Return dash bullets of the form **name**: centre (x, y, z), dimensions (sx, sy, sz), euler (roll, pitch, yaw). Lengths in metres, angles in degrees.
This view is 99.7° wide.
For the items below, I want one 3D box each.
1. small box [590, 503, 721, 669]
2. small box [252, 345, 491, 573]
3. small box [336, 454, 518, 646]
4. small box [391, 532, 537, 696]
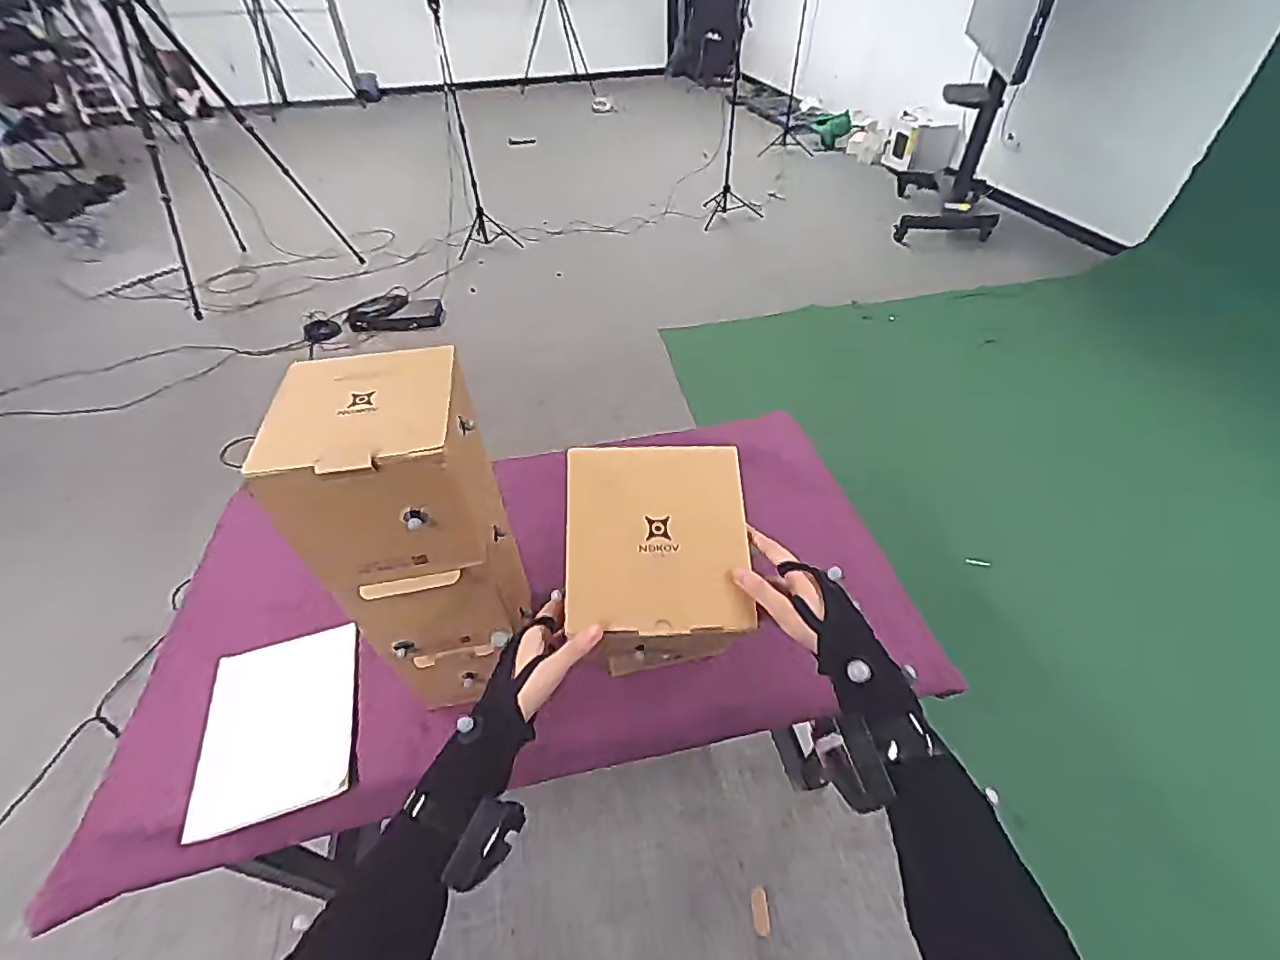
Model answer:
- **small box**: centre (0.018, 0.164, 0.842), dimensions (0.168, 0.176, 0.179), euler (-10, 45, -6)
- **small box**: centre (-0.257, -0.017, 0.572), dimensions (0.168, 0.176, 0.179), euler (-8, 45, -7)
- **small box**: centre (-0.254, 0.094, 0.691), dimensions (0.168, 0.176, 0.179), euler (-9, 45, -7)
- **small box**: centre (-0.252, 0.206, 0.812), dimensions (0.168, 0.176, 0.179), euler (-9, 46, -7)
